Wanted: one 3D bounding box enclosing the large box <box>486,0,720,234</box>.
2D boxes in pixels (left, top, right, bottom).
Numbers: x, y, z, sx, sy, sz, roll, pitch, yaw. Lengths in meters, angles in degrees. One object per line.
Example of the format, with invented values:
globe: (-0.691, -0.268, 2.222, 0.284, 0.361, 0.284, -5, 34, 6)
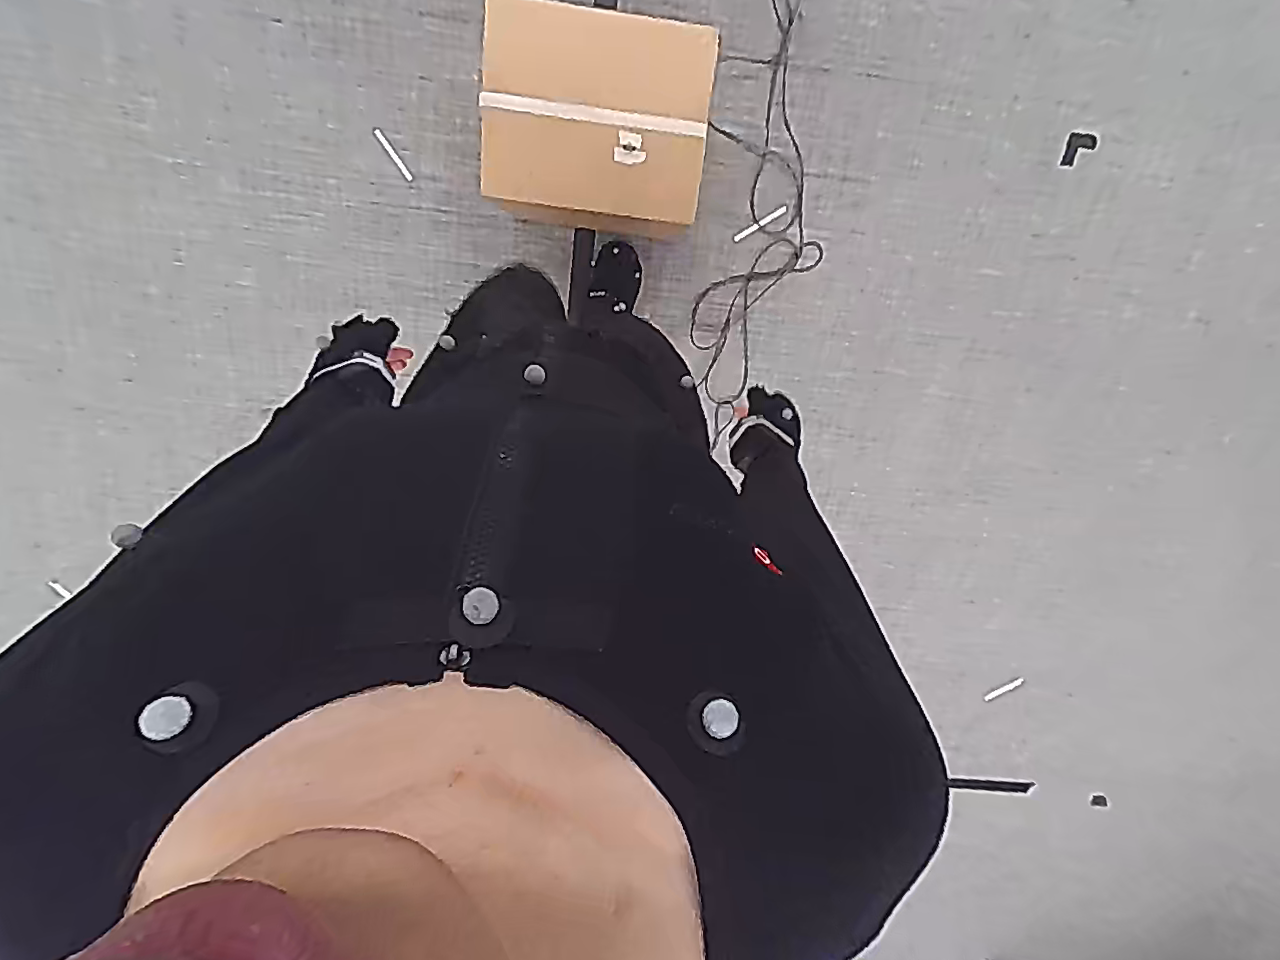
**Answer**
large box: (-0.081, -0.710, 1.108, 0.408, 0.320, 0.320, 6, 109, -4)
